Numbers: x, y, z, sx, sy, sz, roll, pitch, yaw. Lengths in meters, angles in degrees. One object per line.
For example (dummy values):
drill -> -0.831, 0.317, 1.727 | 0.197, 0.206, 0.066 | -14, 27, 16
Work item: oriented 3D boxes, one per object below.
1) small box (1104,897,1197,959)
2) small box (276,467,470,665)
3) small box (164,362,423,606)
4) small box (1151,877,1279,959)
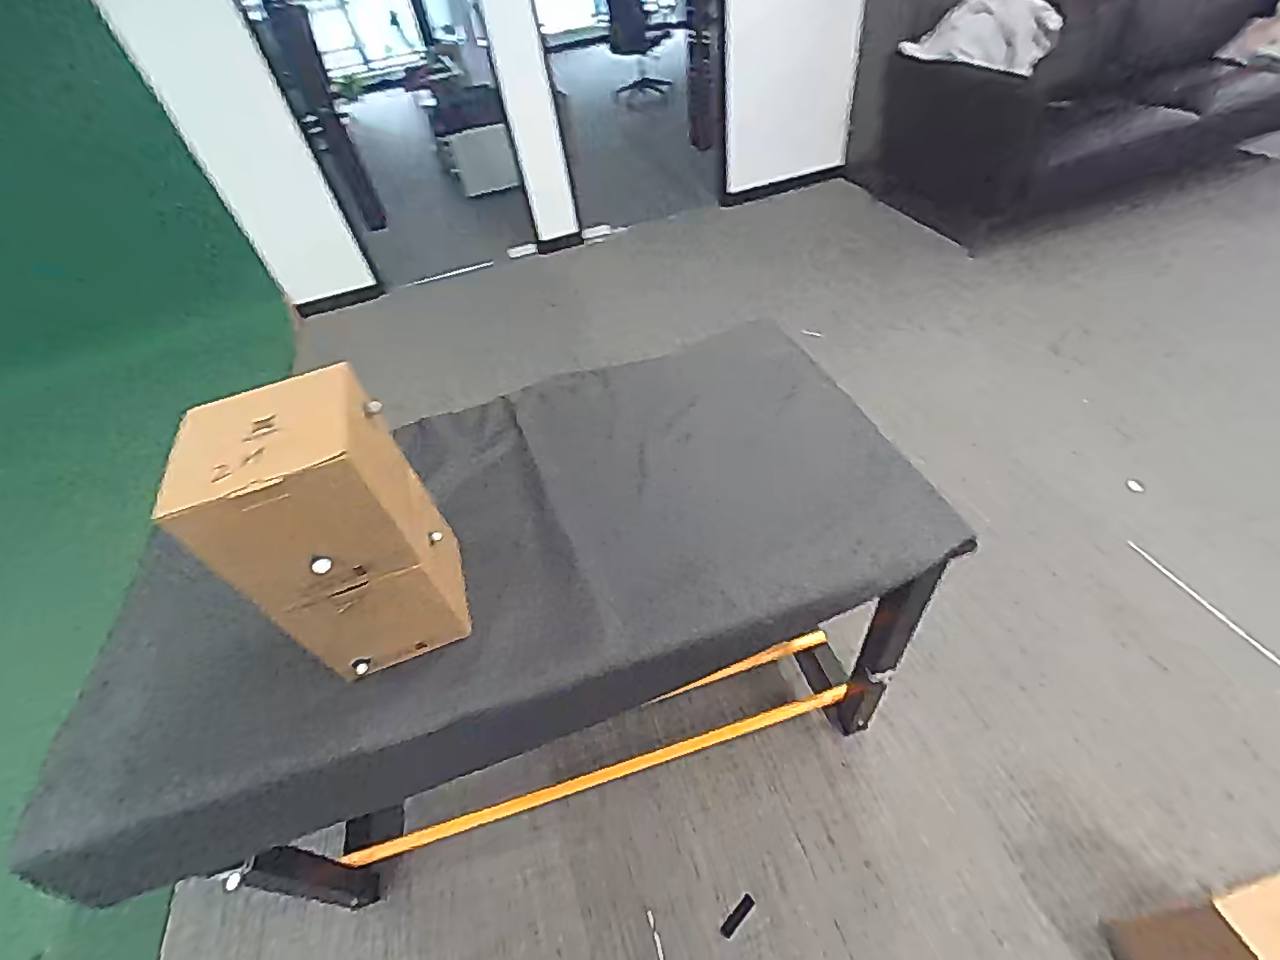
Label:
small box -> 0.919, 0.792, 0.866 | 0.168, 0.176, 0.179 | -14, 48, -4
small box -> -0.336, 0.119, 0.711 | 0.168, 0.176, 0.179 | -19, 46, -9
small box -> -0.357, 0.004, 0.594 | 0.168, 0.176, 0.179 | -21, 47, -10
small box -> 0.894, 0.680, 0.750 | 0.168, 0.176, 0.179 | -15, 45, -6
